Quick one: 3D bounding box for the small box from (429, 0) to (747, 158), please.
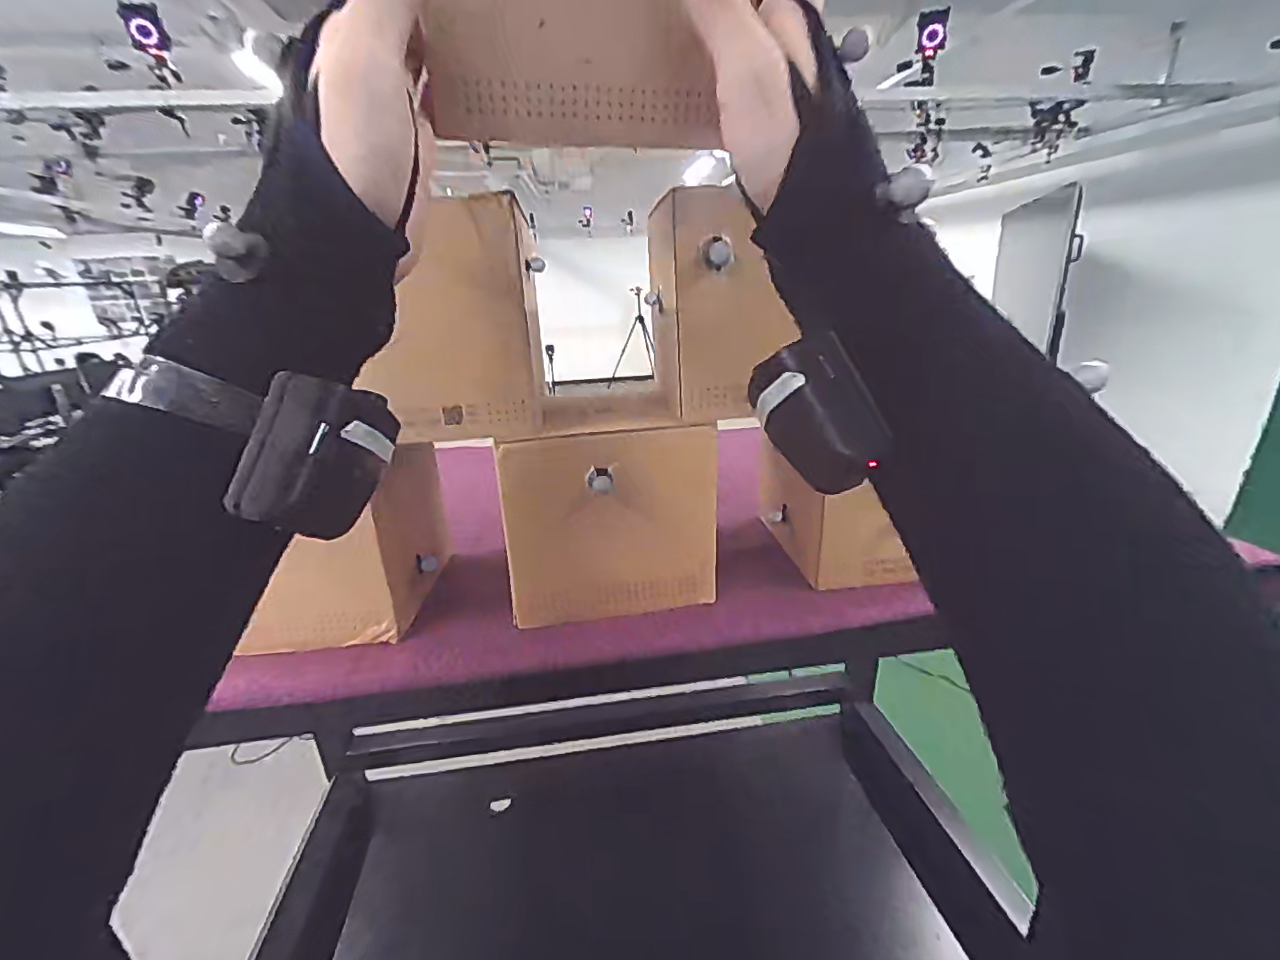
[{"bbox_3d":[-0.033,-0.308,0.334,0.179,0.176,0.168,-2,40,-9],"label":"small box"}]

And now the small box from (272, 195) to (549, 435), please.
[{"bbox_3d":[-0.170,-0.136,0.469,0.168,0.176,0.179,-4,19,-6],"label":"small box"}]

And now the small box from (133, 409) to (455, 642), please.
[{"bbox_3d":[-0.287,0.033,0.497,0.179,0.176,0.168,-3,19,-3],"label":"small box"}]

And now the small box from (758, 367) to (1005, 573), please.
[{"bbox_3d":[0.226,-0.014,0.556,0.168,0.176,0.179,-4,20,-5],"label":"small box"}]
